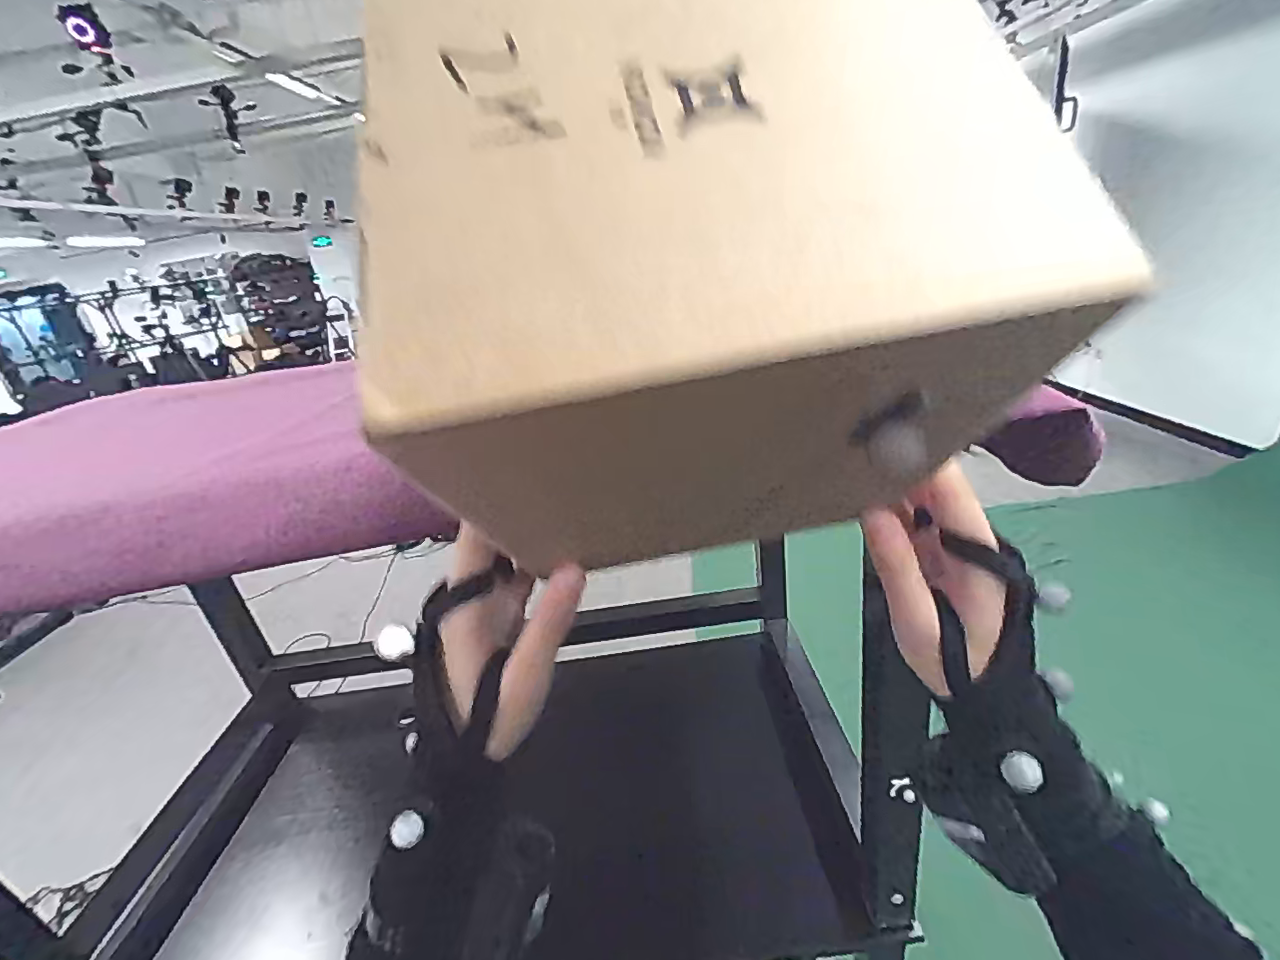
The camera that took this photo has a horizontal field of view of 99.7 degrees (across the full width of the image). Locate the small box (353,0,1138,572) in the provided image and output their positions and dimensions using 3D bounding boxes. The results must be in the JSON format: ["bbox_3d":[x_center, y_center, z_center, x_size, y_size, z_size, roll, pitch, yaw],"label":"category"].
[{"bbox_3d":[0.016,-0.070,0.219,0.179,0.176,0.168,-10,68,1],"label":"small box"}]
